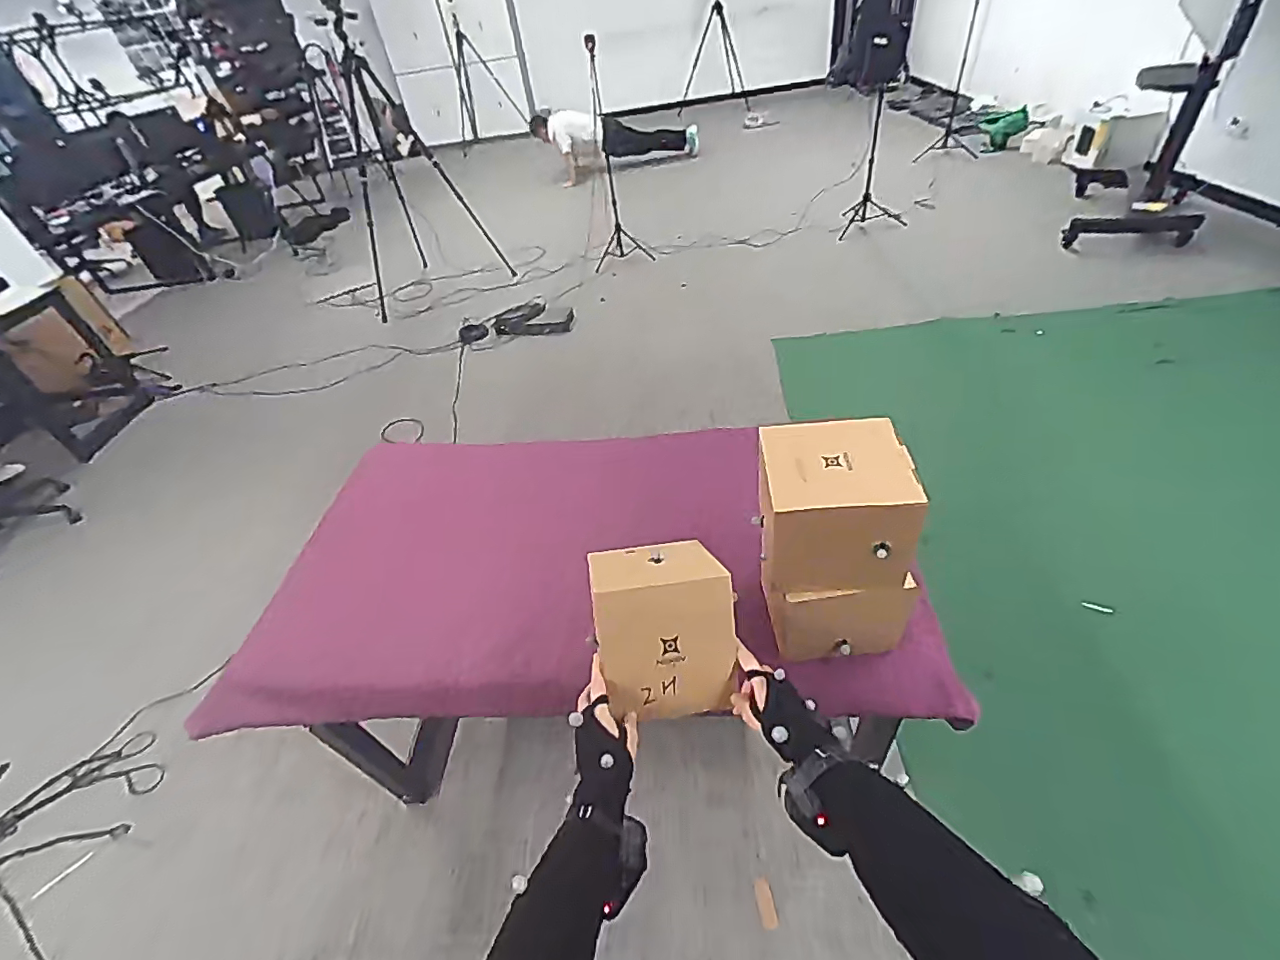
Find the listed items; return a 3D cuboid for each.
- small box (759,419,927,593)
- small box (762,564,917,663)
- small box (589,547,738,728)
[{"bbox_3d":[0.257,0.038,0.732,0.179,0.176,0.168,-4,42,9],"label":"small box"},{"bbox_3d":[0.291,0.162,0.834,0.179,0.176,0.168,-7,42,4],"label":"small box"},{"bbox_3d":[0.023,0.194,0.723,0.168,0.179,0.176,-6,9,-8],"label":"small box"}]
